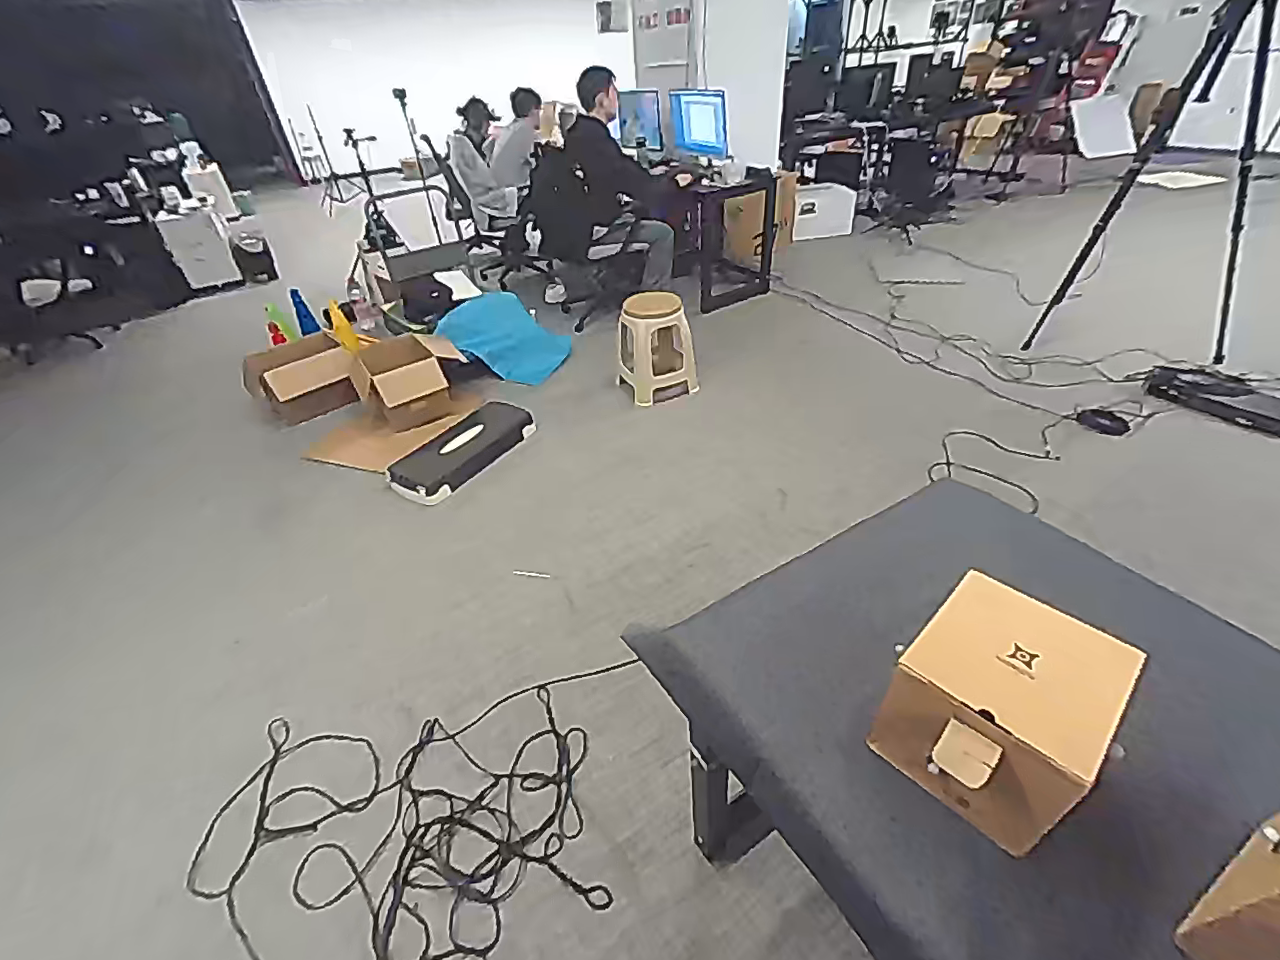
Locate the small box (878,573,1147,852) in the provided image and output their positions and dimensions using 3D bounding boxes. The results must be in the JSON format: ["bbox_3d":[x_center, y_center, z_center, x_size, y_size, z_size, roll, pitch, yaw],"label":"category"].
[{"bbox_3d":[0.381,0.241,0.578,0.179,0.176,0.168,-32,46,-30],"label":"small box"}]
